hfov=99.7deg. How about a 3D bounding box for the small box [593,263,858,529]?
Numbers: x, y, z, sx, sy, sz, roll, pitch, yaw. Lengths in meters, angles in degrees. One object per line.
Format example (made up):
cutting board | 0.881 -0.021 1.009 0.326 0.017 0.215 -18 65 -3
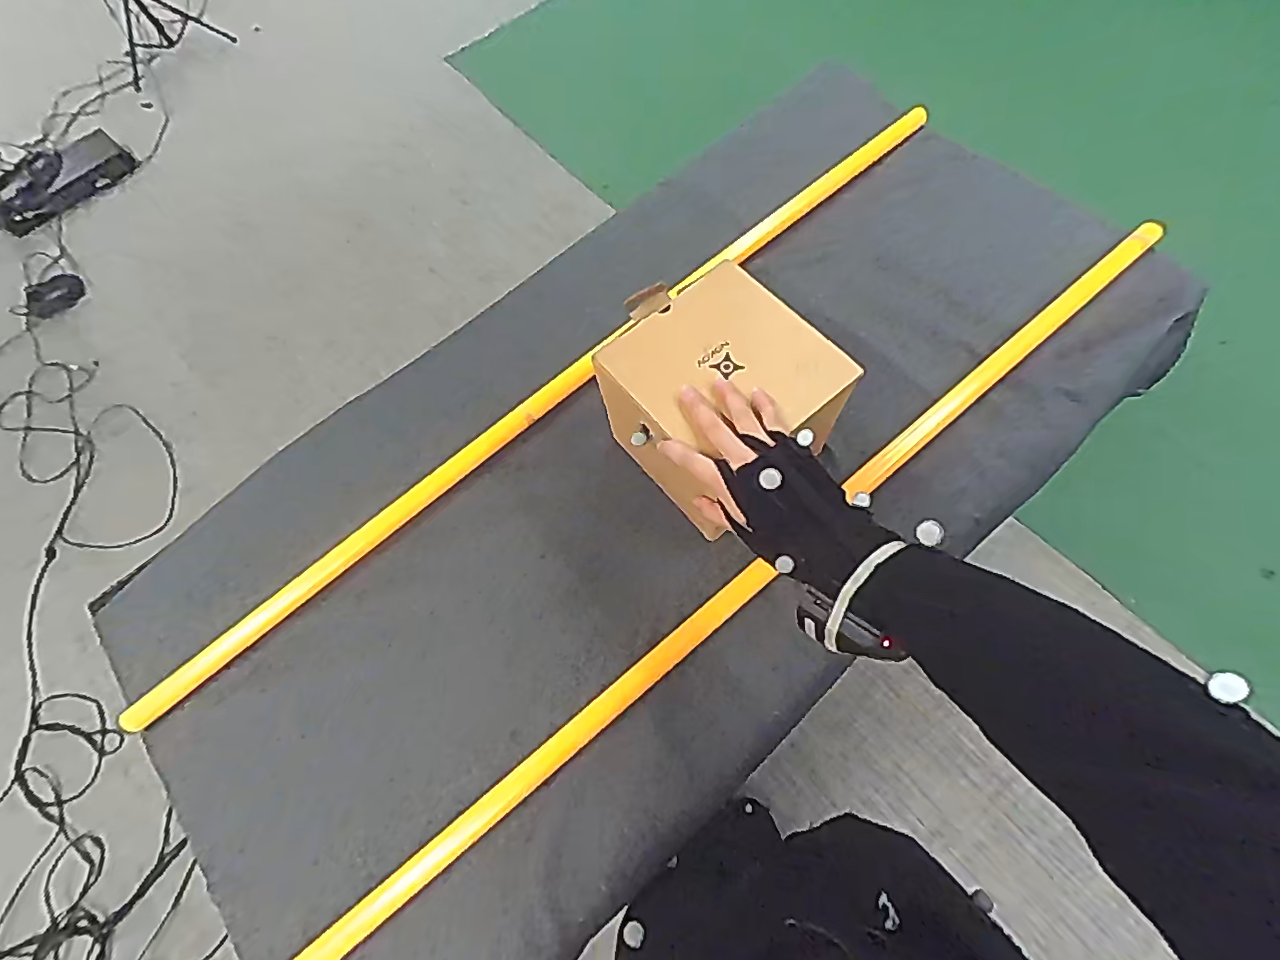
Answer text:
small box | 0.080 -0.070 0.547 0.168 0.176 0.179 -38 68 -9
